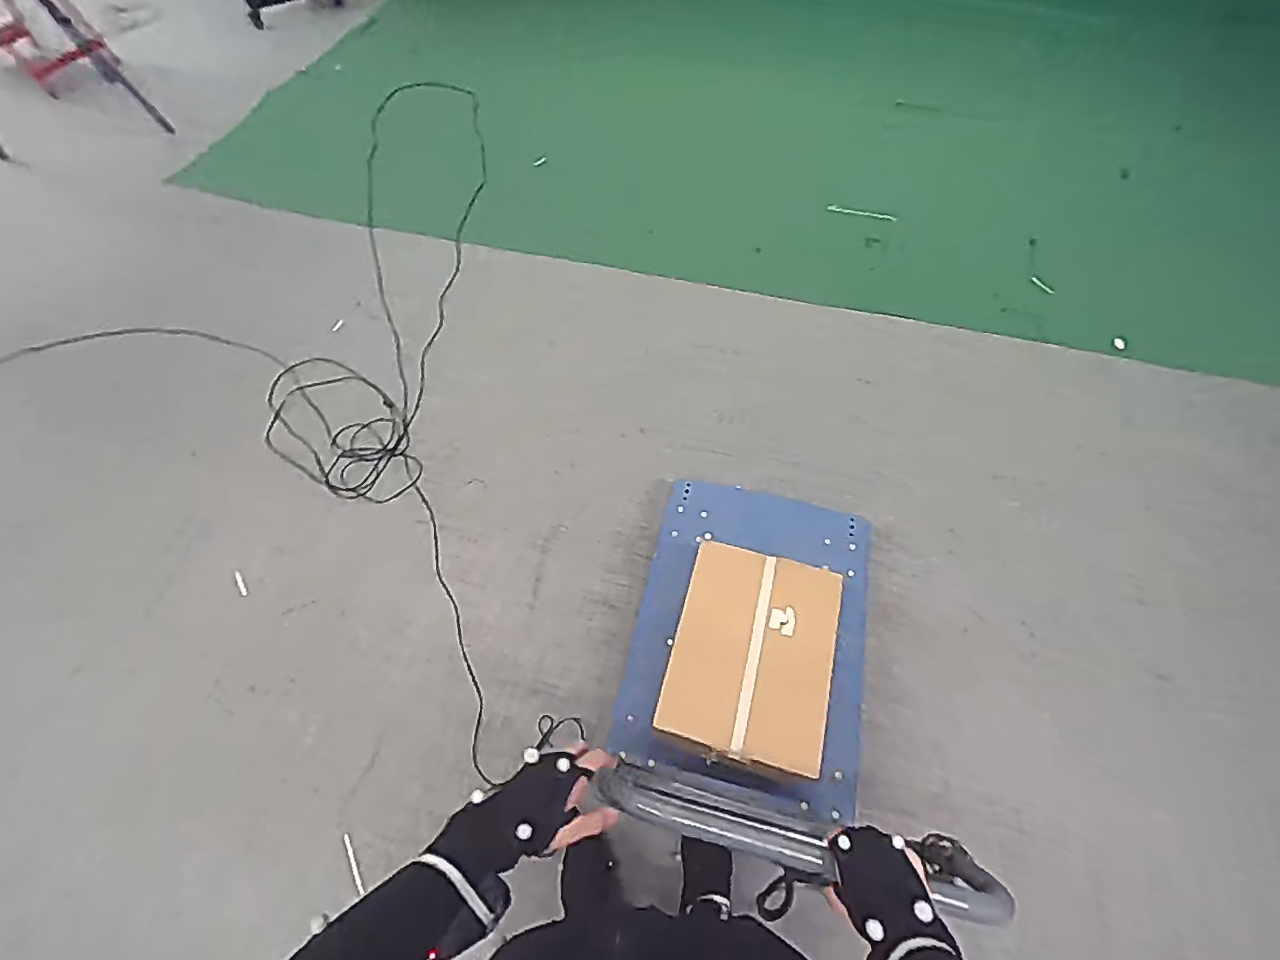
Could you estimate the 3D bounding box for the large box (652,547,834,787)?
[{"bbox_3d":[0.222,0.424,1.215,0.320,0.320,0.408,14,60,8],"label":"large box"}]
